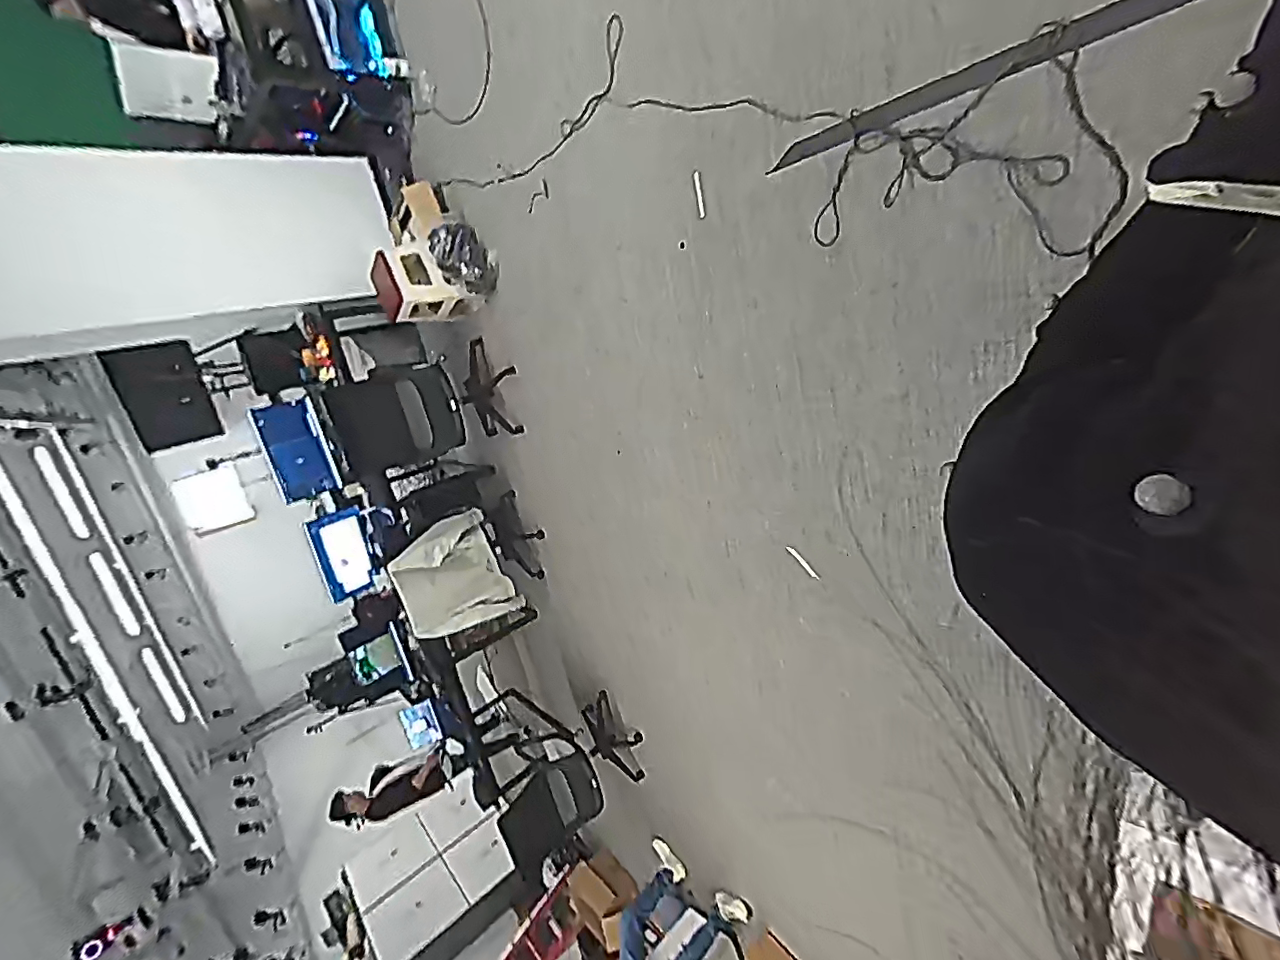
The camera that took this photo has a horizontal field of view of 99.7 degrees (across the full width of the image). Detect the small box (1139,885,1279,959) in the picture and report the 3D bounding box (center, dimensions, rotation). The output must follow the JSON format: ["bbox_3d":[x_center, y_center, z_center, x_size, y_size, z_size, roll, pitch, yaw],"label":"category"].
[{"bbox_3d":[0.841,0.756,0.788,0.168,0.176,0.179,10,116,49],"label":"small box"}]
